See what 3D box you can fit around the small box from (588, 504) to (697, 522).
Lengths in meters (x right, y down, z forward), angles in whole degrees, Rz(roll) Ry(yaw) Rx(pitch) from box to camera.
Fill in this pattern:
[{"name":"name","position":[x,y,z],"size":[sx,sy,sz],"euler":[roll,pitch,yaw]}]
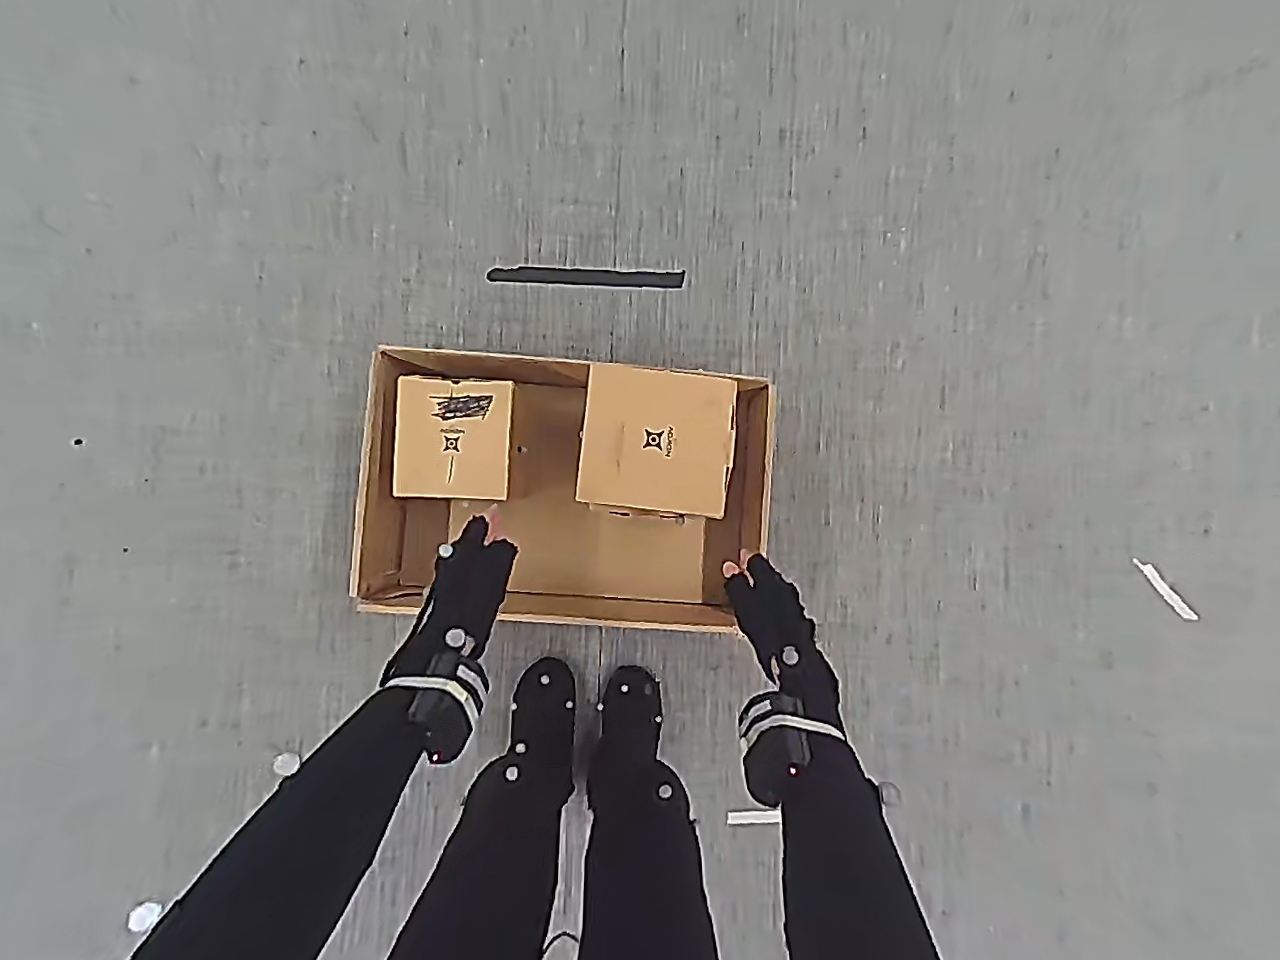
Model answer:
[{"name":"small box","position":[0.011,-0.031,0.872],"size":[0.168,0.176,0.179],"euler":[4,89,-1]}]

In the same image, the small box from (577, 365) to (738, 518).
[{"name":"small box","position":[0.020,-0.042,0.709],"size":[0.179,0.176,0.168],"euler":[6,86,0]}]
